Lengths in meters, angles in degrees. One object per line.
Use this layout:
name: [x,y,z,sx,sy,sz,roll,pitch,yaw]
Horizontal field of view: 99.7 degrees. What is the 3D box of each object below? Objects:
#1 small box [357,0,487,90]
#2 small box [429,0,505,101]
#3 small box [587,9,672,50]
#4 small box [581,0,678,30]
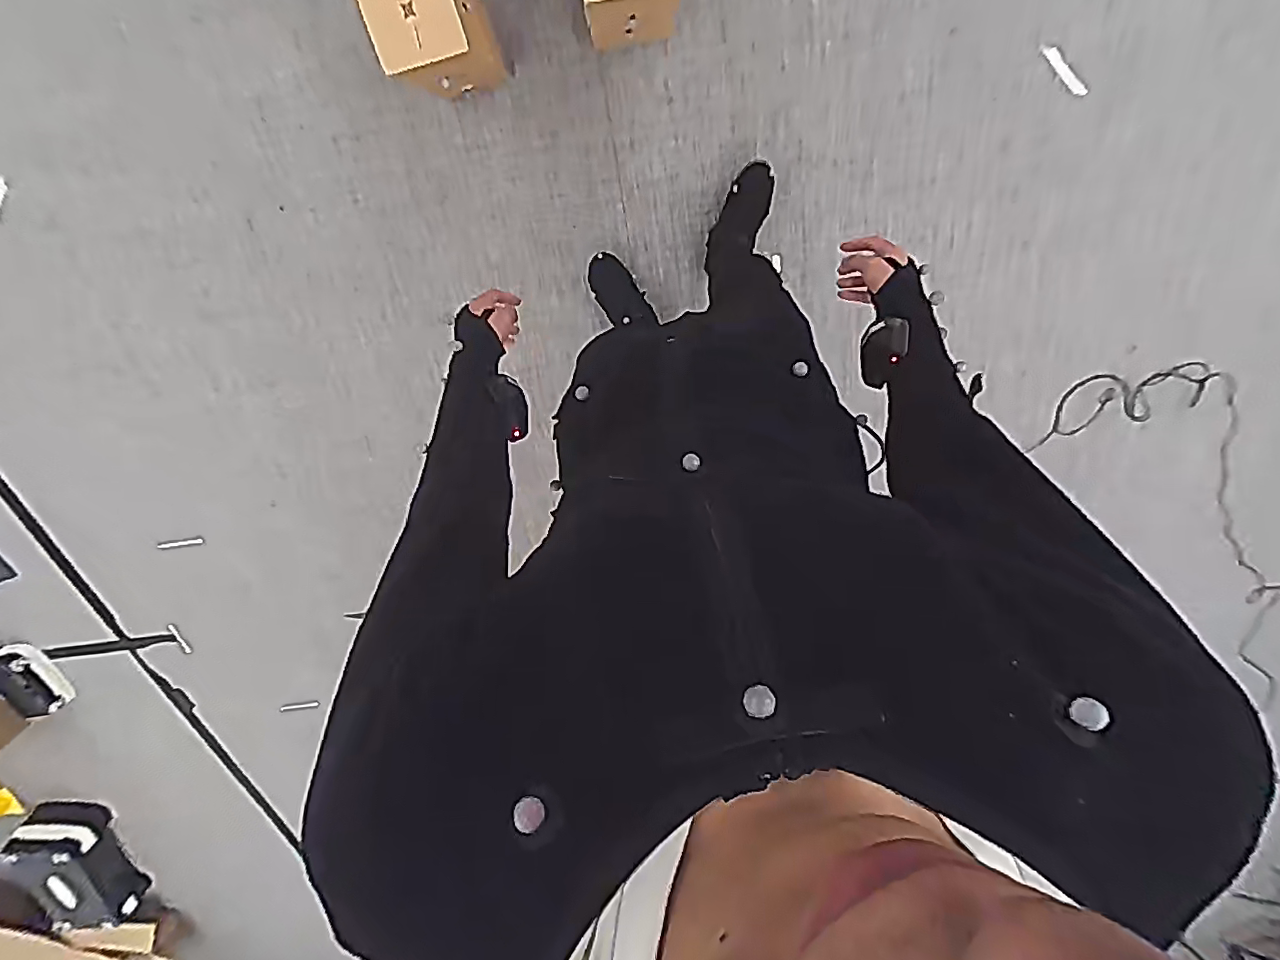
small box: [-0.406,-0.862,1.008,0.168,0.176,0.179,-12,118,5]
small box: [-0.404,-0.943,1.150,0.168,0.176,0.179,-14,117,6]
small box: [-0.032,-1.021,1.121,0.179,0.176,0.168,-8,118,1]
small box: [-0.027,-0.946,0.976,0.179,0.176,0.168,-7,117,1]
